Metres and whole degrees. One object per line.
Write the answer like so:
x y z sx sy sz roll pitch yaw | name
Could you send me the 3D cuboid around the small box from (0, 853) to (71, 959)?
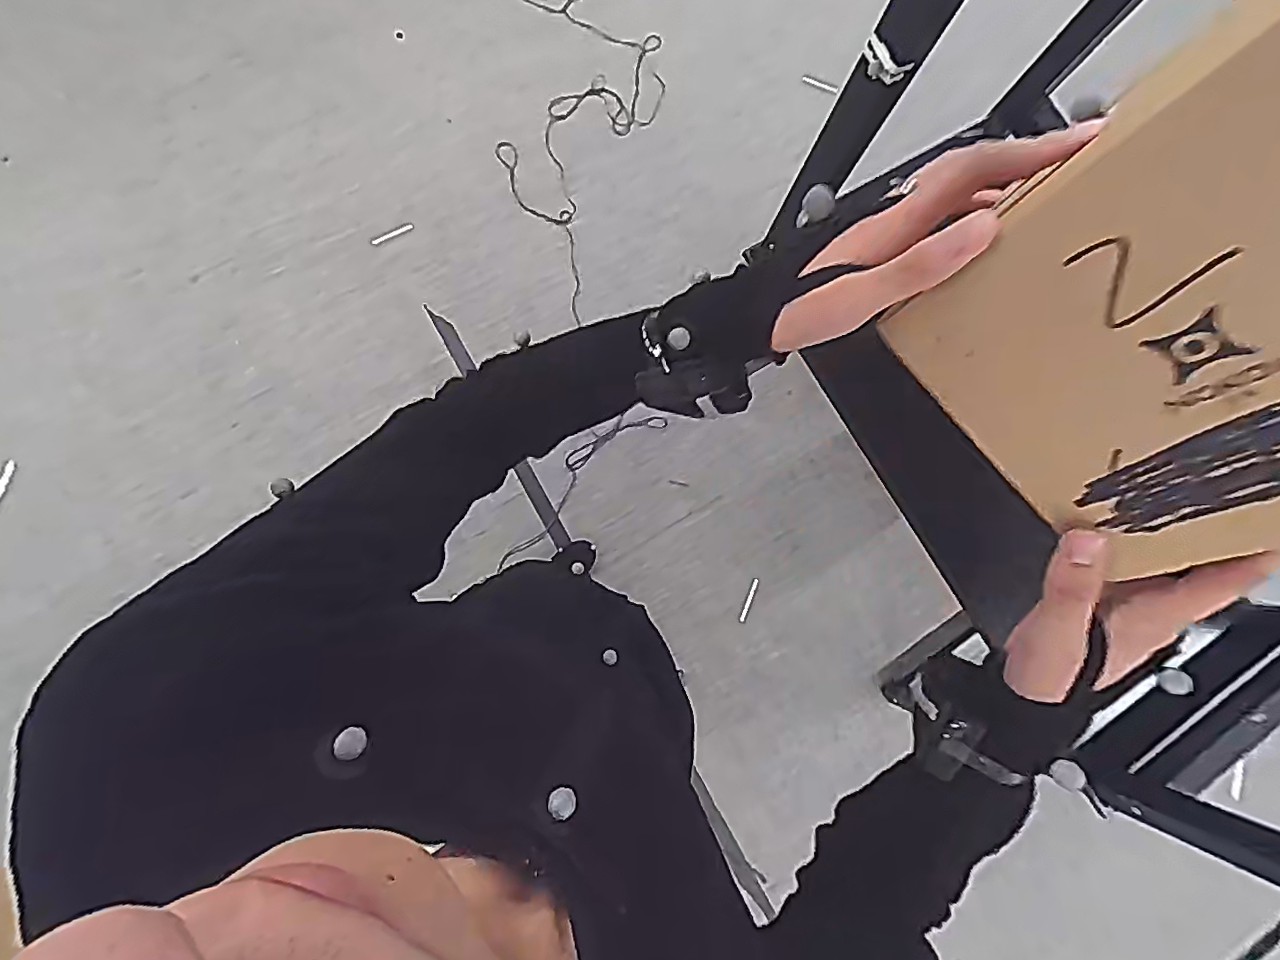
-1.060 0.732 0.825 0.179 0.176 0.168 -33 88 -8 | small box
